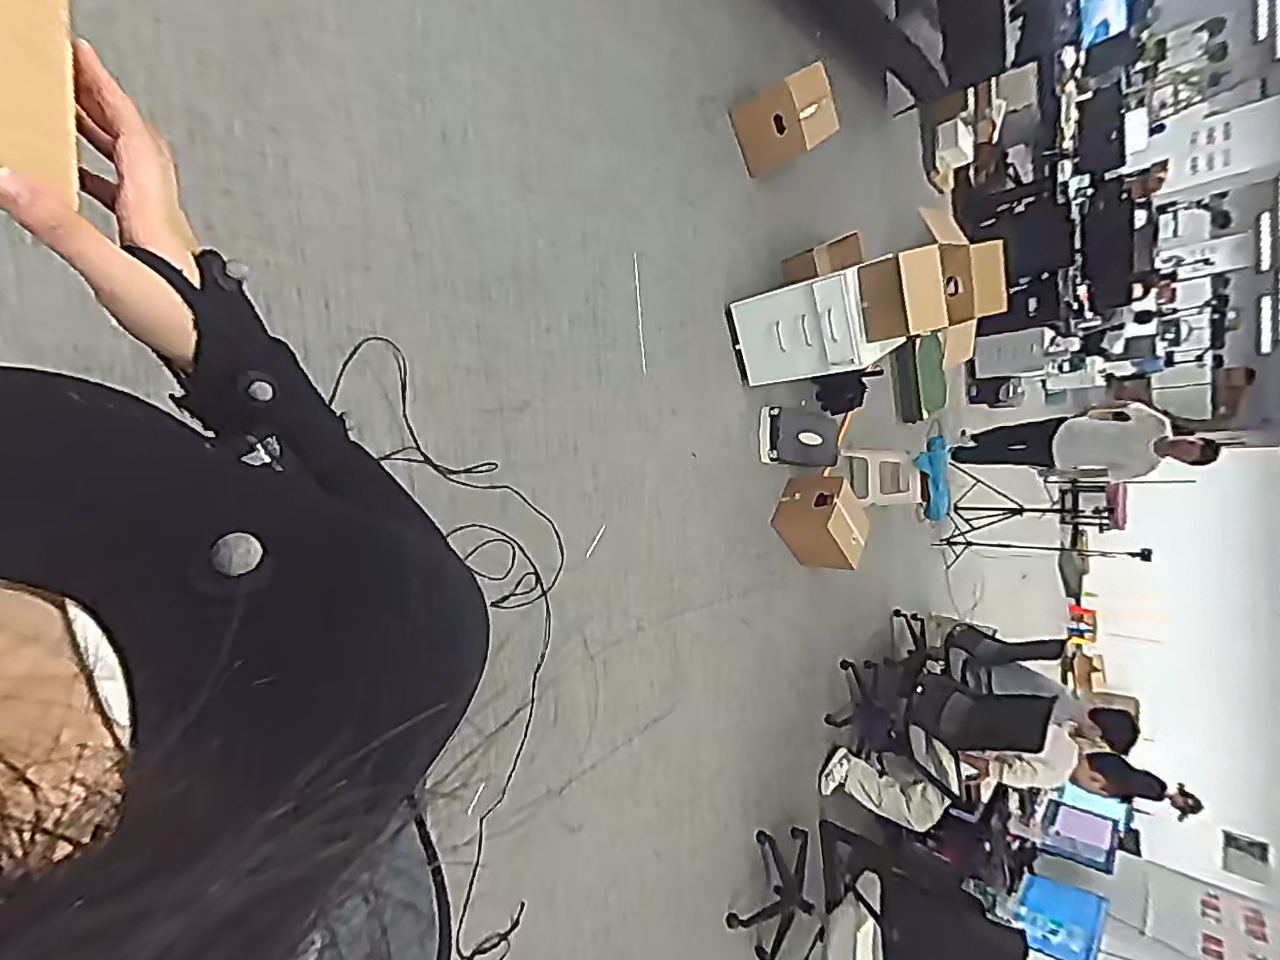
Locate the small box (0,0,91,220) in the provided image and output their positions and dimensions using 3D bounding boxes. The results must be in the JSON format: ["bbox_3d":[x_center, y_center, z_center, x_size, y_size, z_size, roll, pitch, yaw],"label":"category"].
[{"bbox_3d":[-0.370,-0.230,0.239,0.168,0.176,0.179,-6,111,-50],"label":"small box"}]
